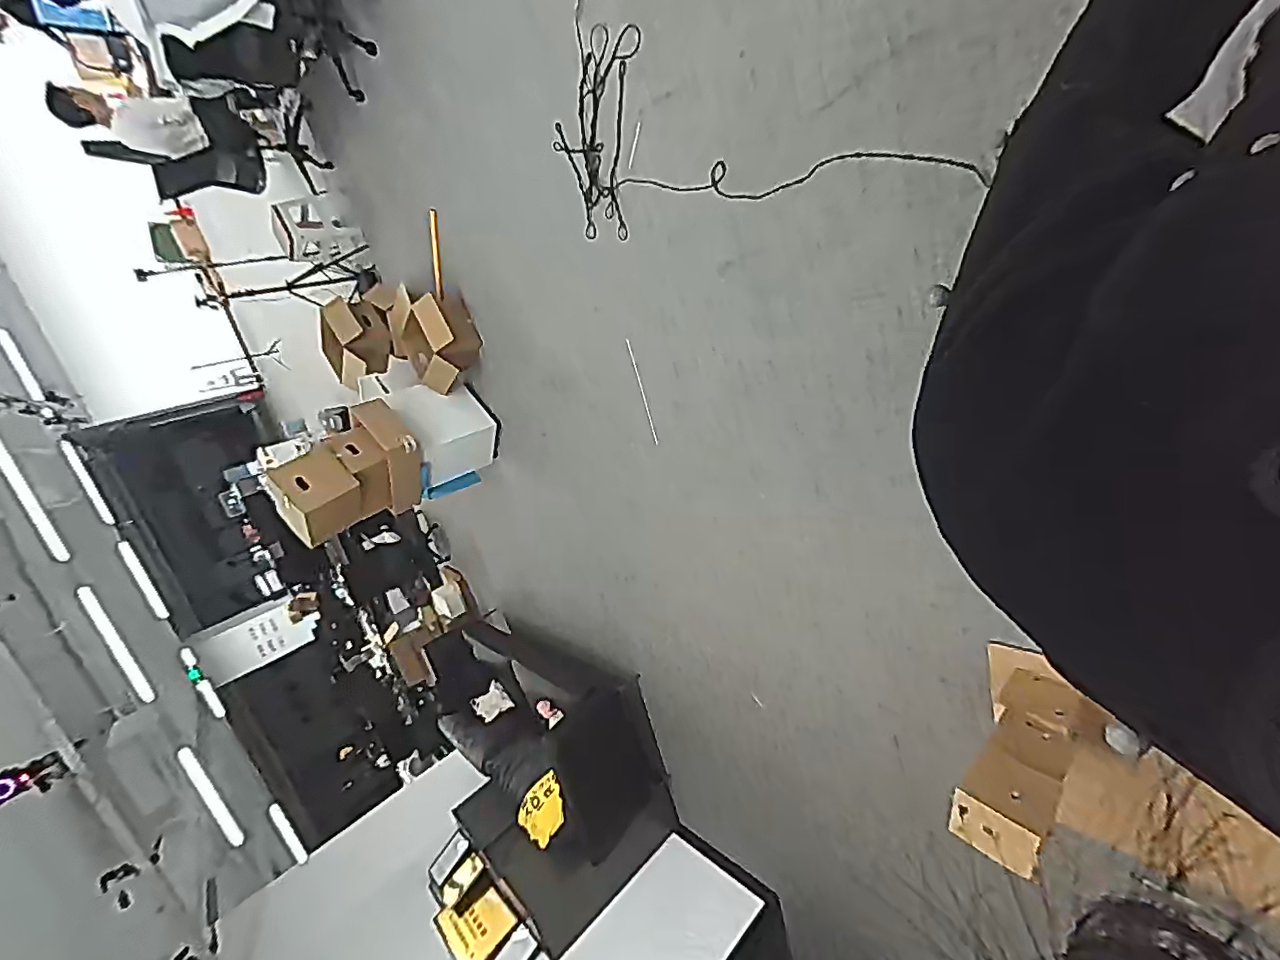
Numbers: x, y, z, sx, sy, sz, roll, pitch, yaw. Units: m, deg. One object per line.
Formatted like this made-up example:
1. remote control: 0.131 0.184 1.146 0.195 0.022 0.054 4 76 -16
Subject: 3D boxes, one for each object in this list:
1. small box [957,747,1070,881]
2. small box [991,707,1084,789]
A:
1. small box: 0.891 0.784 1.290 0.179 0.176 0.168 18 126 44
2. small box: 1.006 0.734 1.395 0.168 0.176 0.179 28 132 39
